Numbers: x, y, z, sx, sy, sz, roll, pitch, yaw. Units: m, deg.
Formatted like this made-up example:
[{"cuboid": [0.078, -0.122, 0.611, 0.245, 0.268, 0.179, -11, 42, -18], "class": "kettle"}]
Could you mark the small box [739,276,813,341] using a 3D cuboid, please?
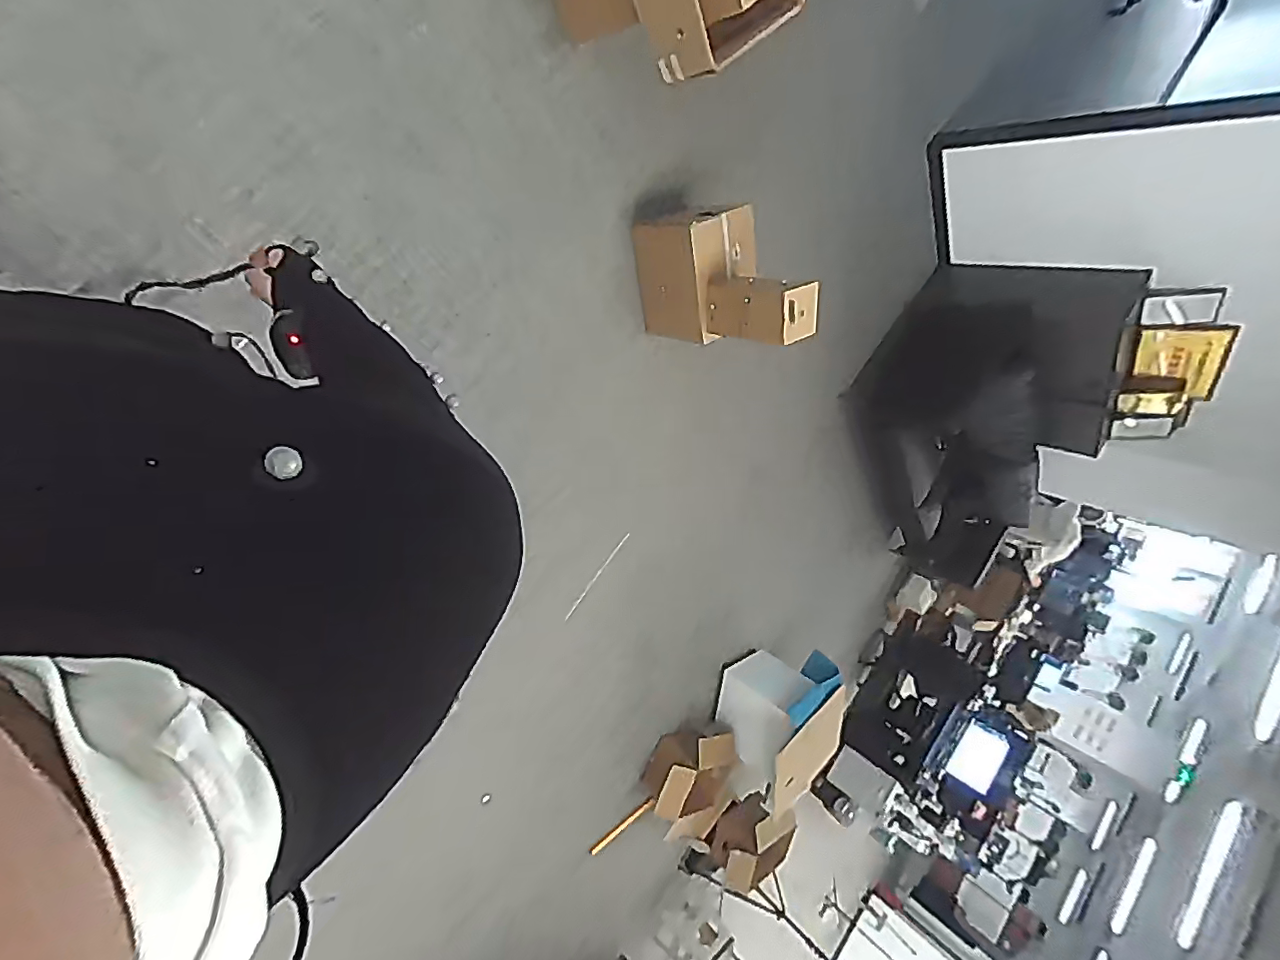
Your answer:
[{"cuboid": [0.435, -0.559, 1.747, 0.179, 0.176, 0.168, -27, 126, -33], "class": "small box"}]

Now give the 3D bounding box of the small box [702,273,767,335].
[{"cuboid": [0.334, -0.612, 1.864, 0.179, 0.176, 0.168, -27, 125, -31], "class": "small box"}]

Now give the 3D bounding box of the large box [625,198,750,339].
[{"cuboid": [0.186, -0.782, 2.000, 0.320, 0.320, 0.408, -34, 129, -29], "class": "large box"}]
